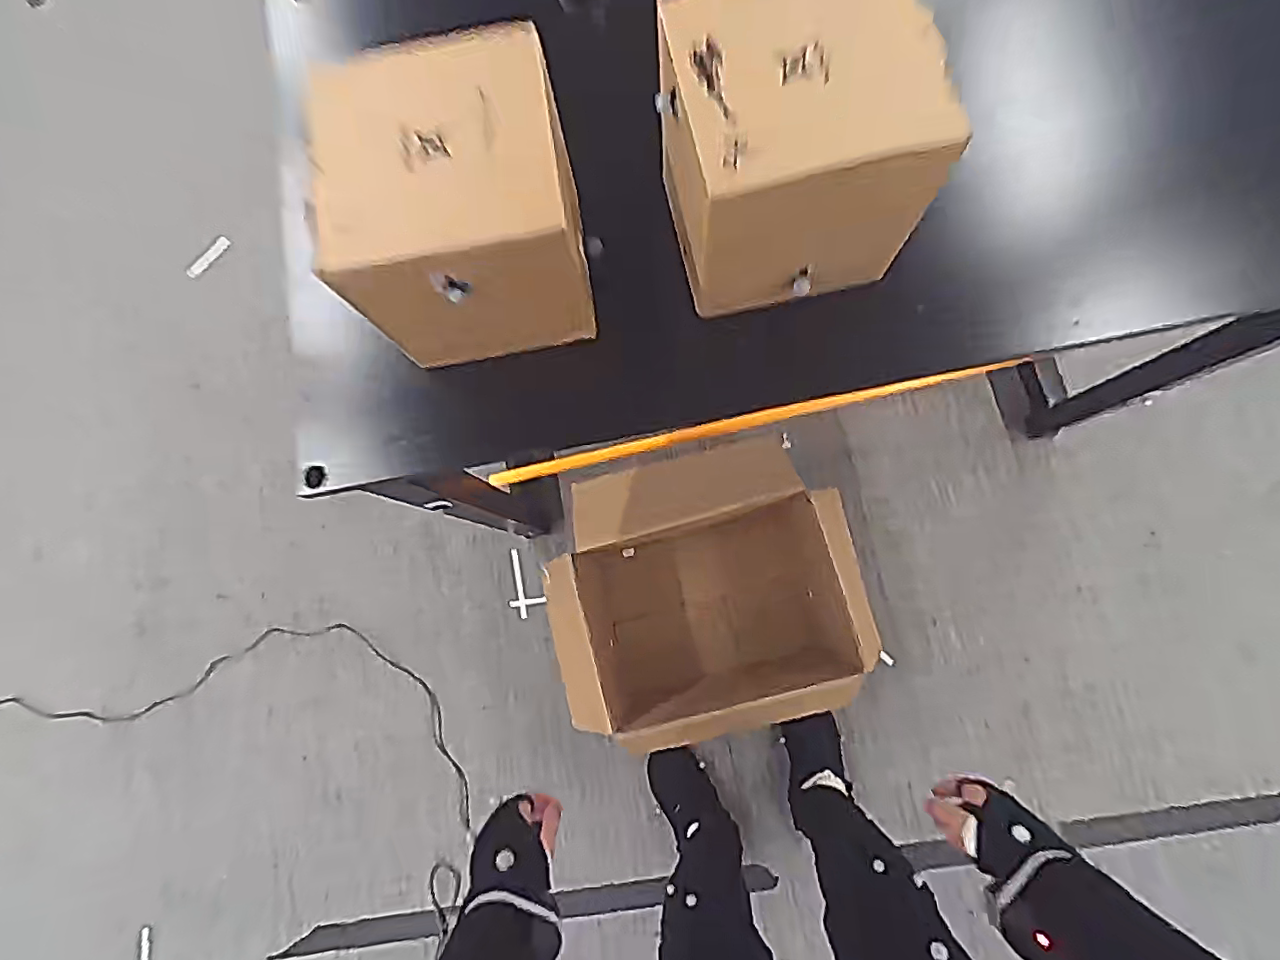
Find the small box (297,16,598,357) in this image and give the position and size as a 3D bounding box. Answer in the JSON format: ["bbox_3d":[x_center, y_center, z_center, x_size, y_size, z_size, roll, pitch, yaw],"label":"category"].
[{"bbox_3d":[-0.140,-0.217,0.443,0.179,0.176,0.168,-10,80,1],"label":"small box"}]

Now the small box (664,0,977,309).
[{"bbox_3d":[0.119,-0.263,0.436,0.179,0.176,0.168,-12,79,1],"label":"small box"}]
